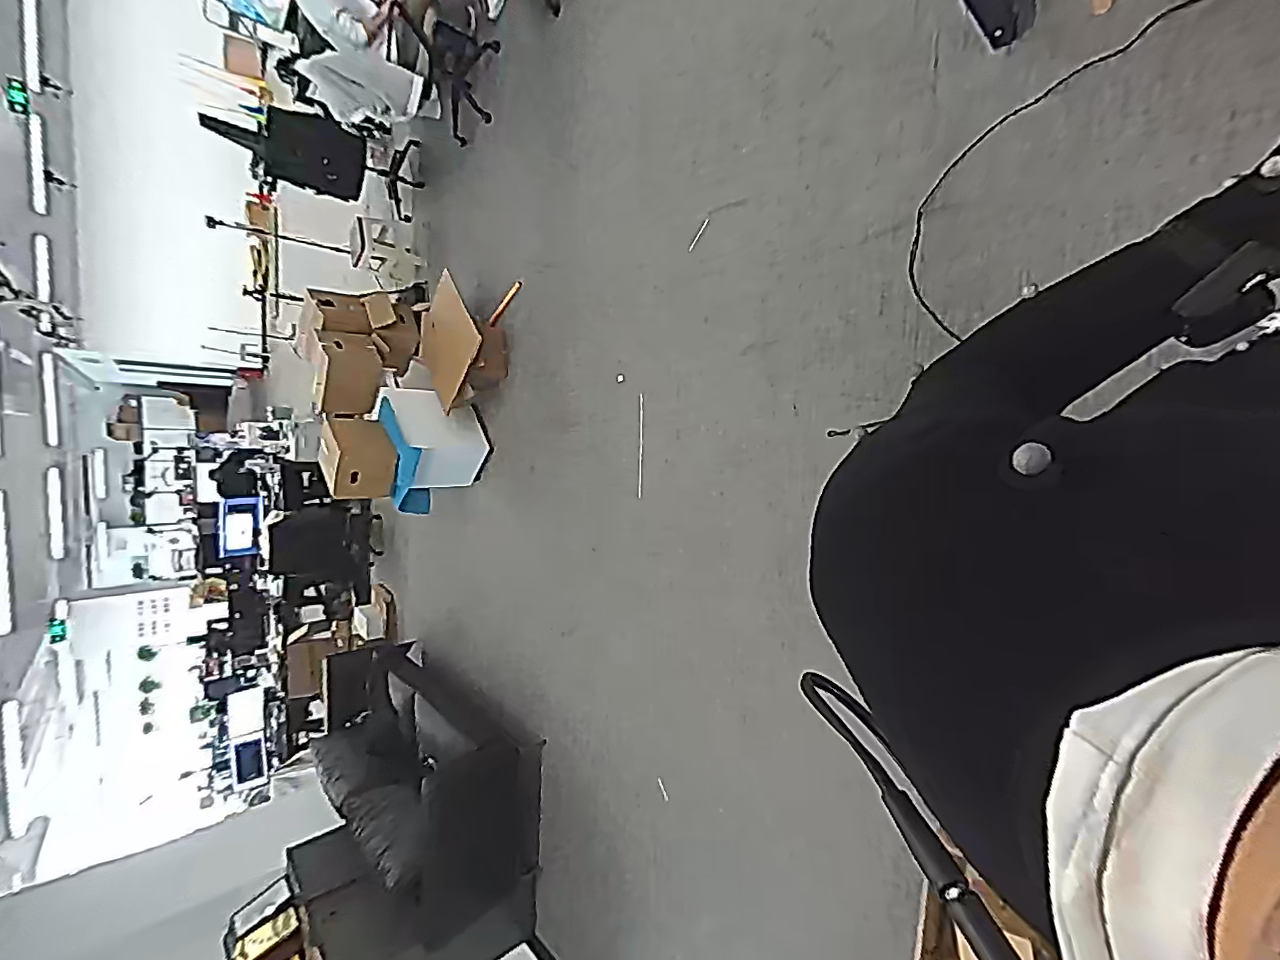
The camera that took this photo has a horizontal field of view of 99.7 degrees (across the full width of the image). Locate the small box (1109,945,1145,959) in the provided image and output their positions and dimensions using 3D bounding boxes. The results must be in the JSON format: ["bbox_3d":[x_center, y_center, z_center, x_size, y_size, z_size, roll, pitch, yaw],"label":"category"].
[{"bbox_3d":[1.071,1.154,1.140,0.168,0.176,0.179,25,111,45],"label":"small box"}]

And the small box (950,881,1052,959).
[{"bbox_3d":[0.894,1.144,1.334,0.168,0.176,0.179,-14,81,47],"label":"small box"}]
